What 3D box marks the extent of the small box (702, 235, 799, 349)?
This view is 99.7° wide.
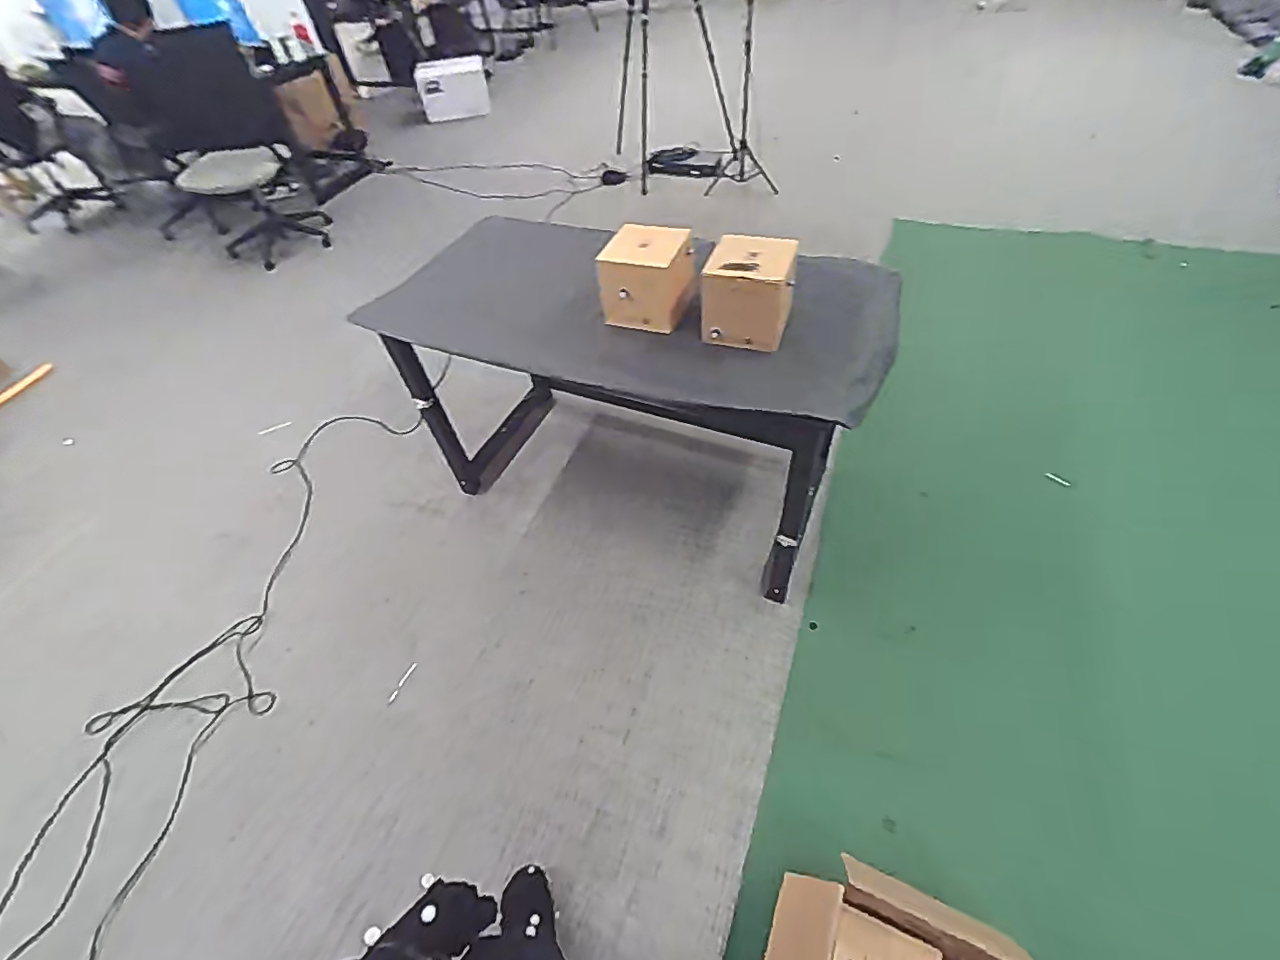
[{"bbox_3d":[0.237,-0.405,1.168,0.168,0.176,0.179,13,51,17],"label":"small box"}]

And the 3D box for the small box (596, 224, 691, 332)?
[{"bbox_3d":[0.018,-0.464,1.247,0.168,0.176,0.179,13,52,17],"label":"small box"}]
